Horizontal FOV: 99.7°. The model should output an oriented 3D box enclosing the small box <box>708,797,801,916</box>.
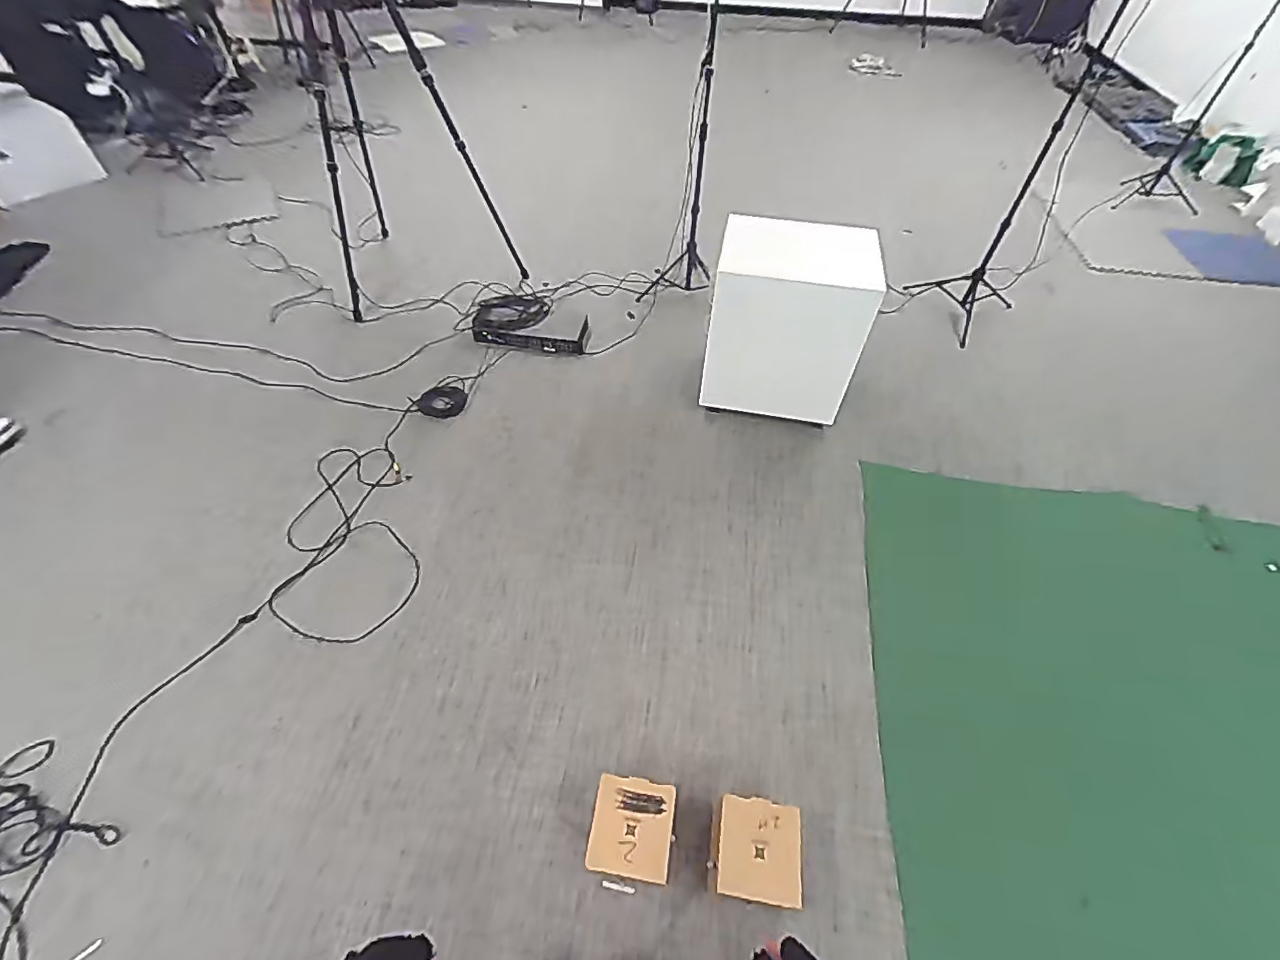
[{"bbox_3d":[0.239,0.799,1.144,0.168,0.176,0.179,8,50,5],"label":"small box"}]
